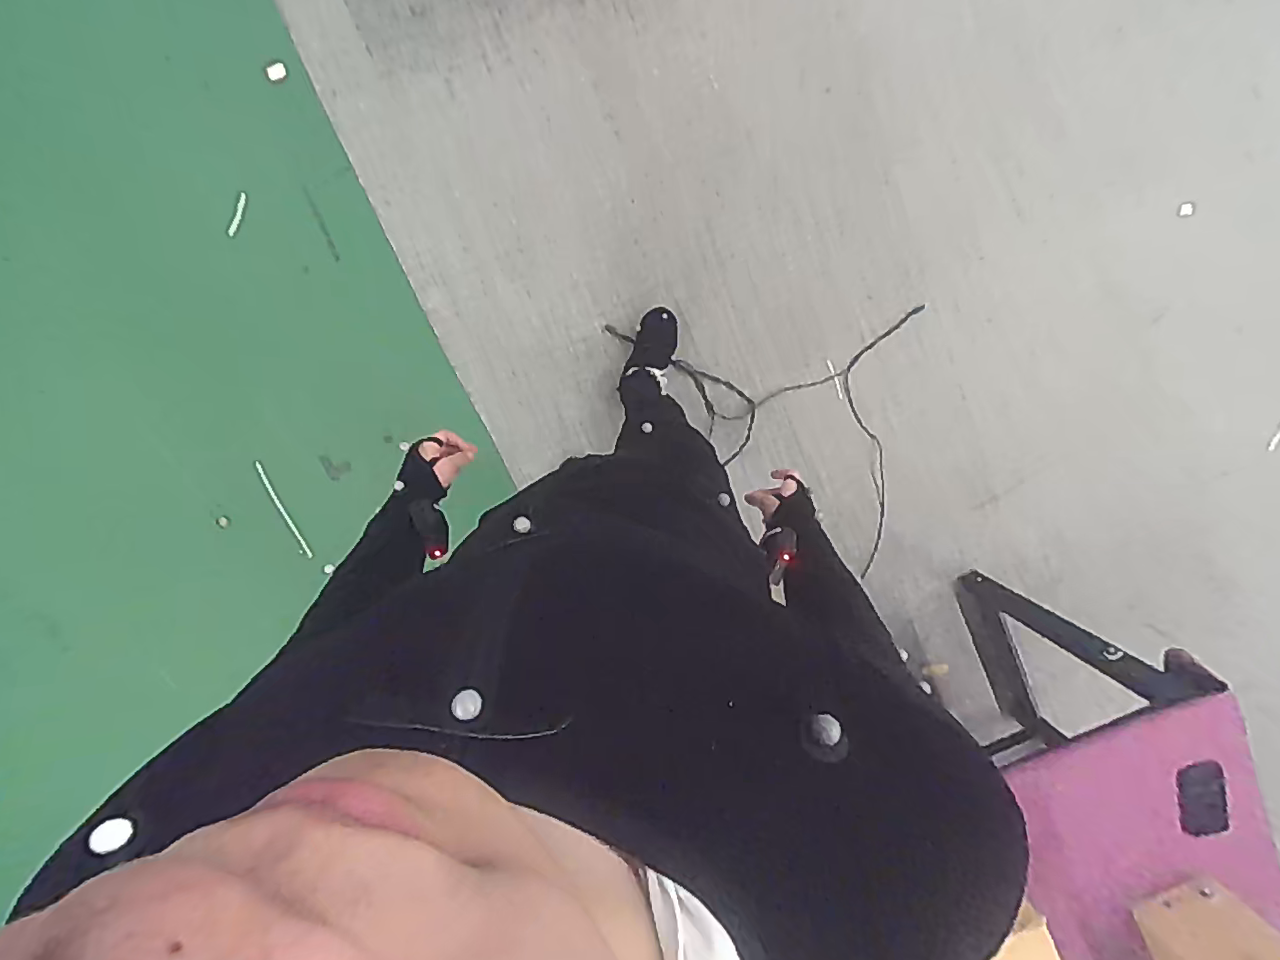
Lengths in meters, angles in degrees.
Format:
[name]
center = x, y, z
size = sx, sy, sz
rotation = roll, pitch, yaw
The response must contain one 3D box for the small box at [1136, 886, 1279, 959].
[small box]
center = 1.074, 0.894, 0.989
size = 0.168, 0.176, 0.179
rotation = -29, 100, 4
